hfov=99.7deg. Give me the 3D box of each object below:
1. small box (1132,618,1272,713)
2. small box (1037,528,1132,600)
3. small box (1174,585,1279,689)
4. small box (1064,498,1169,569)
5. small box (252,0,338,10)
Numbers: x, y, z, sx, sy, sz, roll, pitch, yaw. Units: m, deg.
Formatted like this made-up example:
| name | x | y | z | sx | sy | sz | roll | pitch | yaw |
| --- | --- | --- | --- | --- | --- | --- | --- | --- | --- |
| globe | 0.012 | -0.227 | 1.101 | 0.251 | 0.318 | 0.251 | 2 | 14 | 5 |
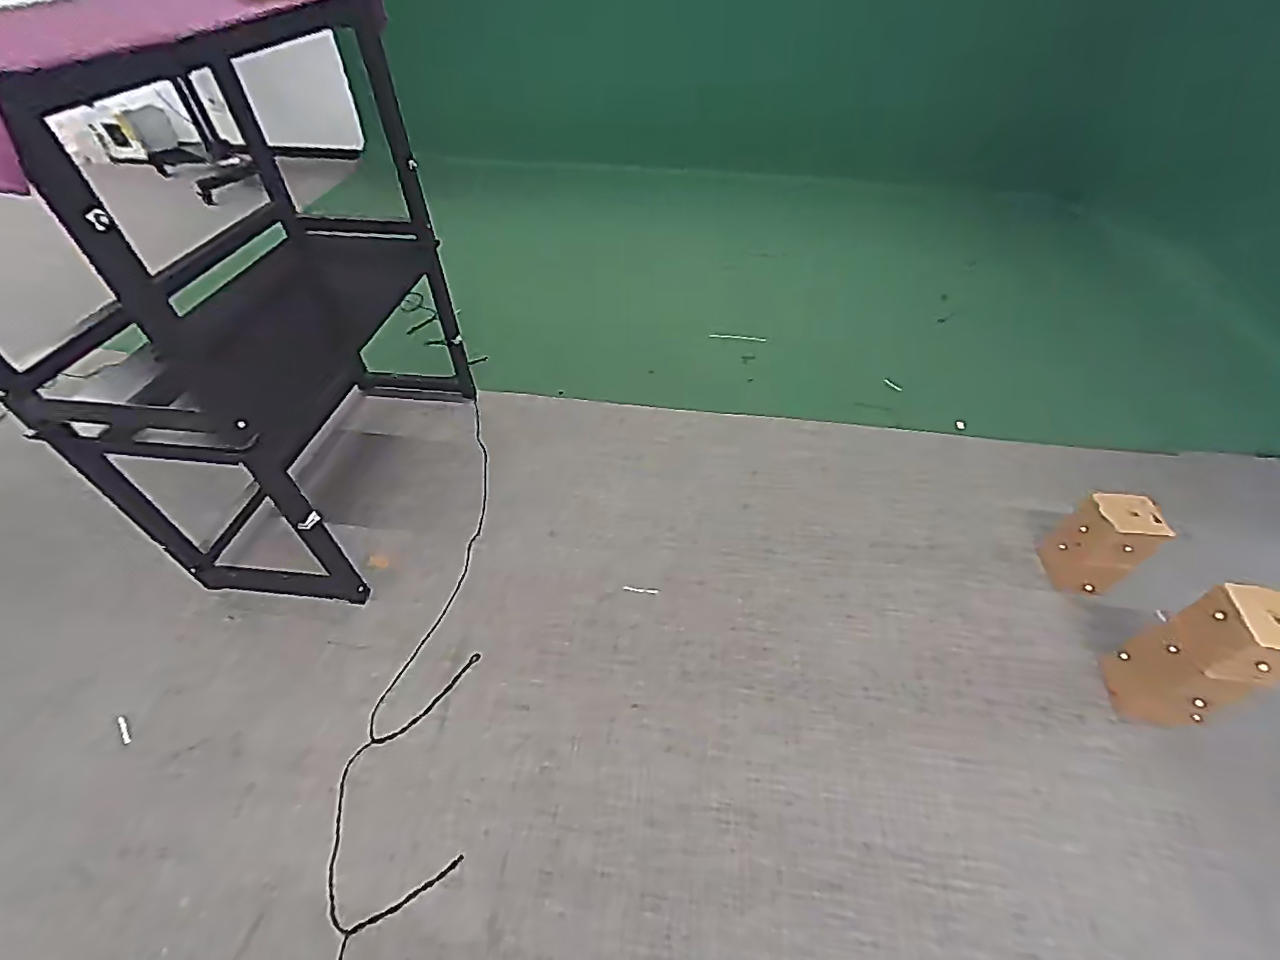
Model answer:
| name | x | y | z | sx | sy | sz | roll | pitch | yaw |
| --- | --- | --- | --- | --- | --- | --- | --- | --- | --- |
| small box | 1.497 | 0.501 | 1.458 | 0.168 | 0.176 | 0.179 | 6 | 48 | 6 |
| small box | 1.537 | 0.293 | 1.885 | 0.168 | 0.176 | 0.179 | 5 | 47 | 5 |
| small box | 1.501 | 0.392 | 1.339 | 0.168 | 0.176 | 0.179 | 10 | 47 | 9 |
| small box | 1.540 | 0.178 | 1.768 | 0.179 | 0.176 | 0.168 | 3 | 47 | 3 |
| small box | -0.916 | -1.325 | 1.384 | 0.168 | 0.176 | 0.179 | 9 | 48 | 7 |
